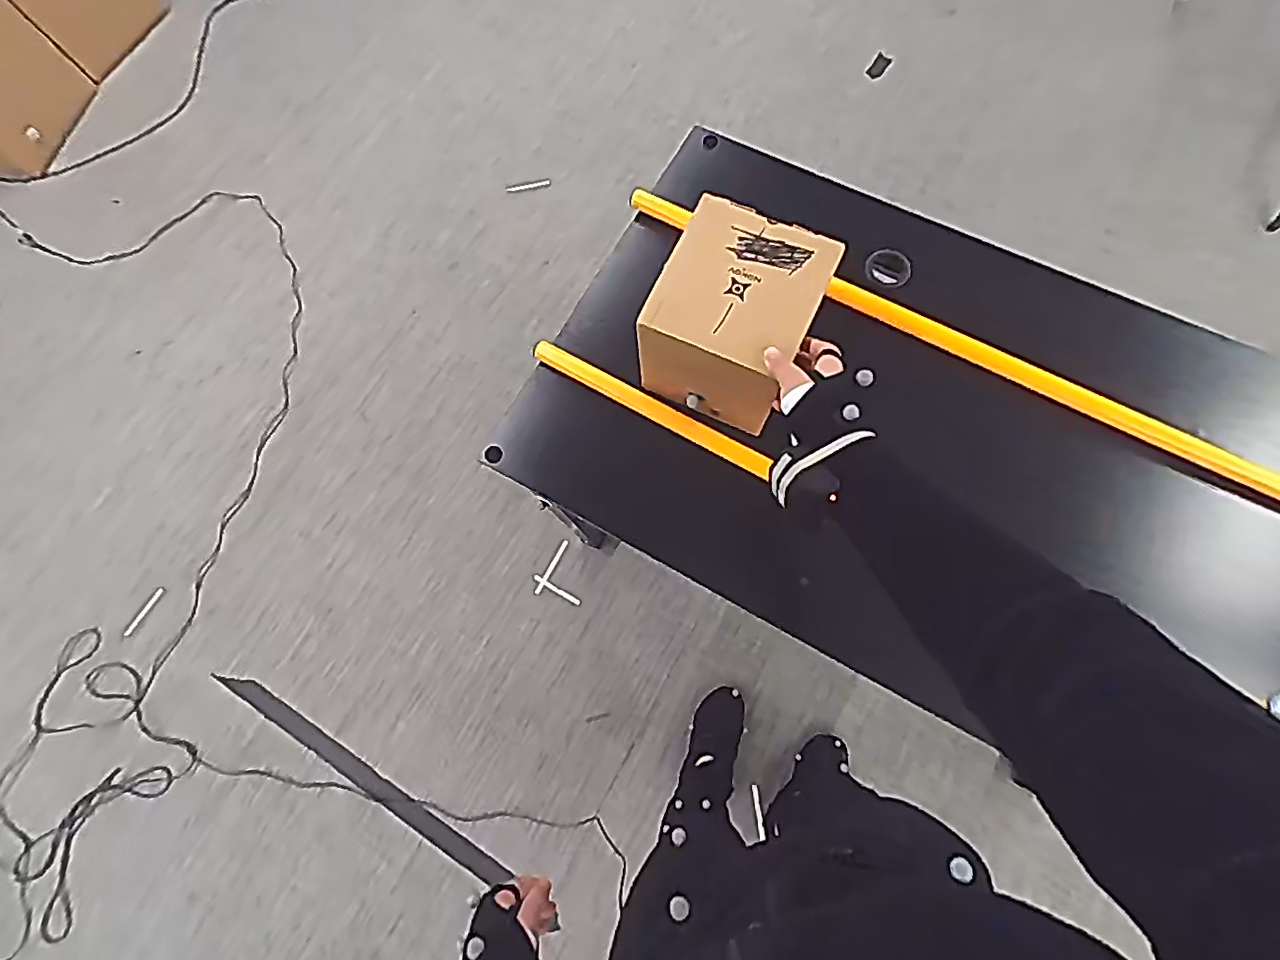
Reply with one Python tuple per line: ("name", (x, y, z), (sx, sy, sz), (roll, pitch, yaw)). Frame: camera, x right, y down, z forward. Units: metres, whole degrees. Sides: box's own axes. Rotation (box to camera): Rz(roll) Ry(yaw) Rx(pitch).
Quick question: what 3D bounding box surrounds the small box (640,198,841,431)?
("small box", (0.111, -0.186, 0.650), (0.168, 0.176, 0.179), (25, 78, 9))
